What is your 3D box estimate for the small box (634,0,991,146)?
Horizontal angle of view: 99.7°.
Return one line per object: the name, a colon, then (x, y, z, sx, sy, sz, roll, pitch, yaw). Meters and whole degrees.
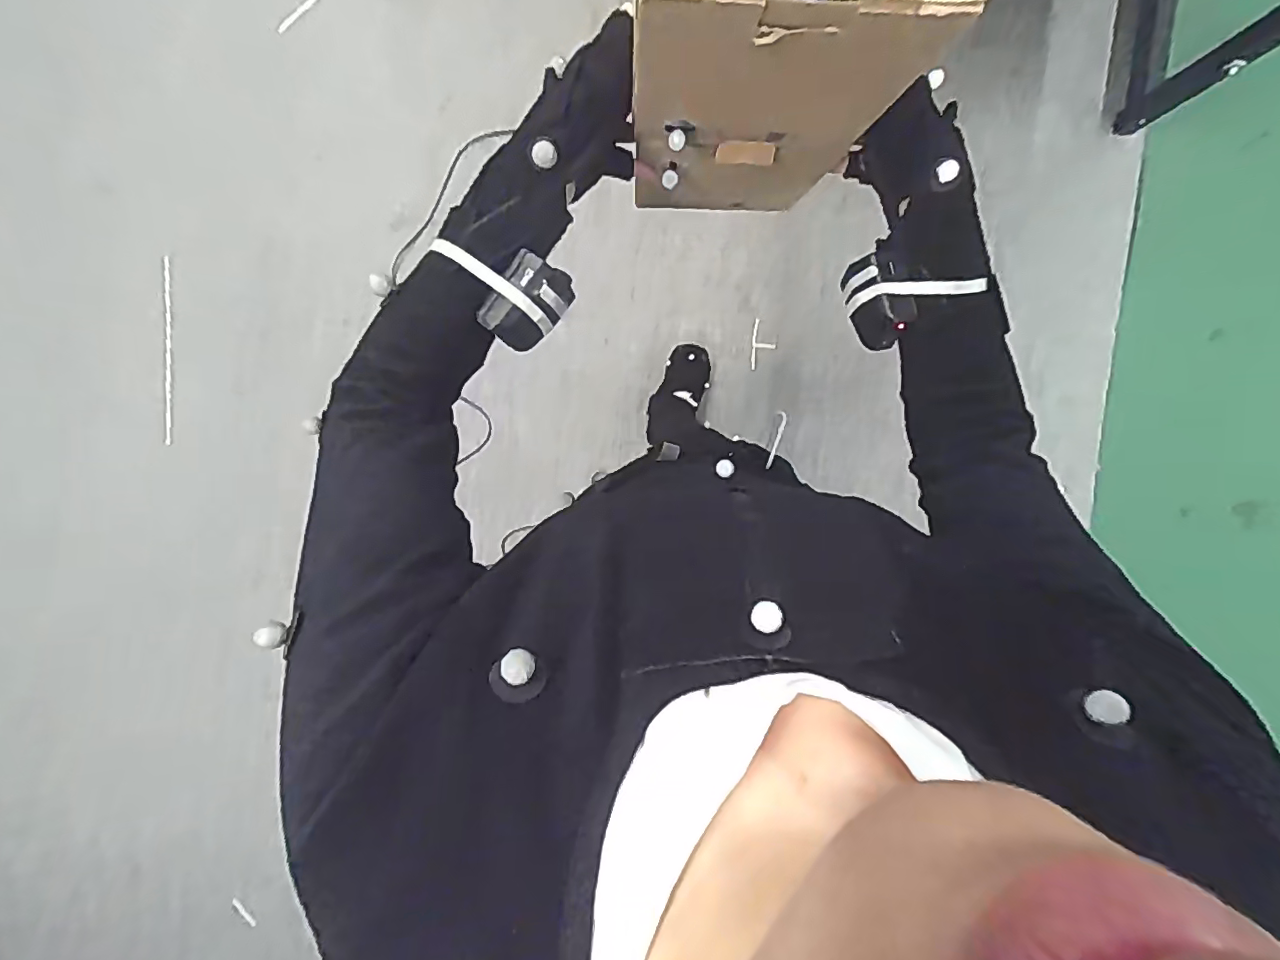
small box: (0.085, -0.319, 0.308, 0.168, 0.176, 0.179, 4, 102, -4)
